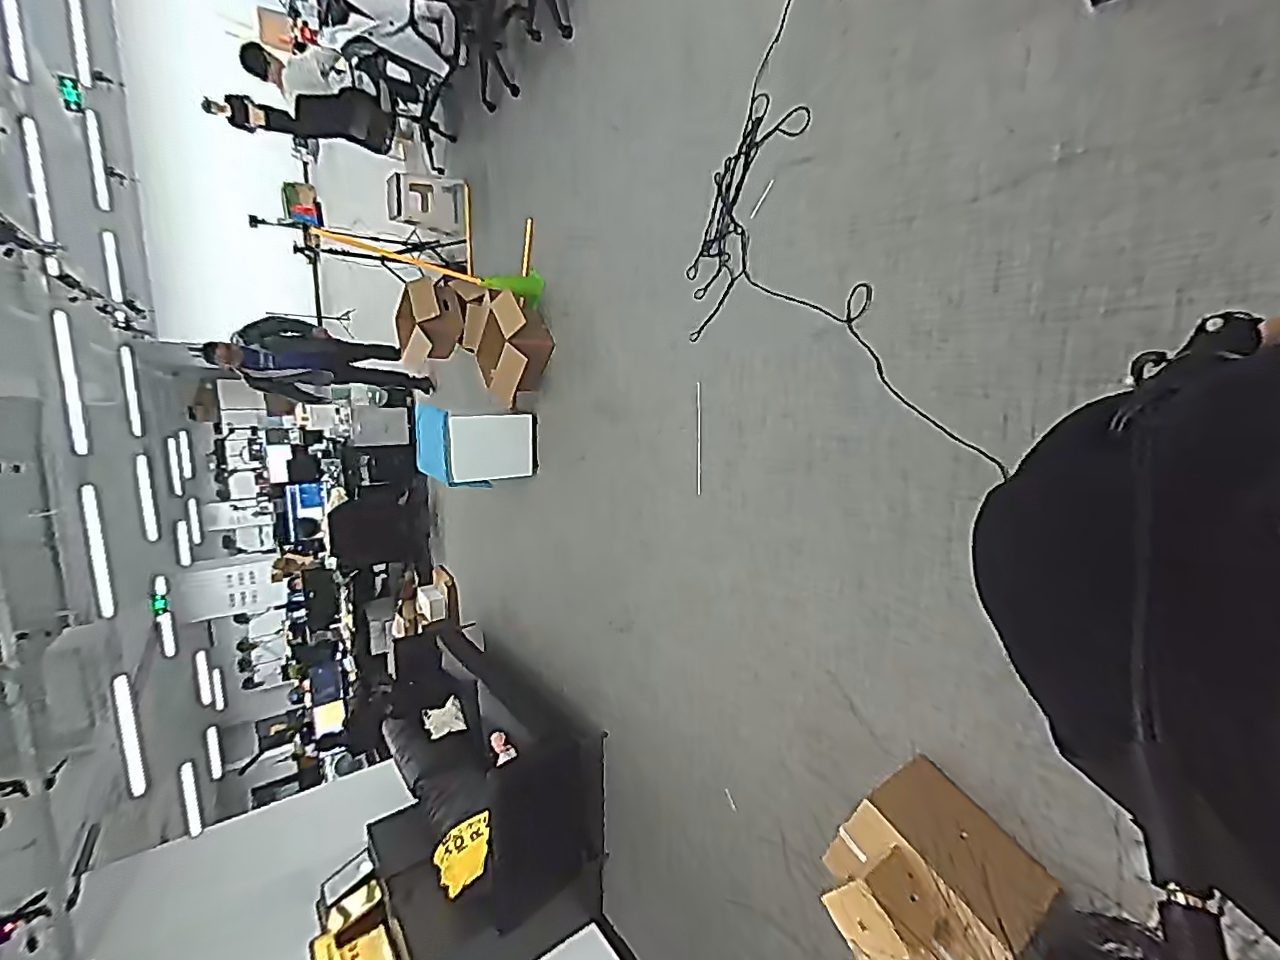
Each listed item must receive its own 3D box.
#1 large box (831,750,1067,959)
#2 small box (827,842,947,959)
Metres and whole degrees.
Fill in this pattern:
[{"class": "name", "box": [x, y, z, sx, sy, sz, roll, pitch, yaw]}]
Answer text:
[{"class": "large box", "box": [0.817, 1.043, 1.470, 0.408, 0.320, 0.320, 41, 129, 41]}, {"class": "small box", "box": [0.611, 1.039, 1.335, 0.168, 0.176, 0.179, 55, 135, 34]}]
